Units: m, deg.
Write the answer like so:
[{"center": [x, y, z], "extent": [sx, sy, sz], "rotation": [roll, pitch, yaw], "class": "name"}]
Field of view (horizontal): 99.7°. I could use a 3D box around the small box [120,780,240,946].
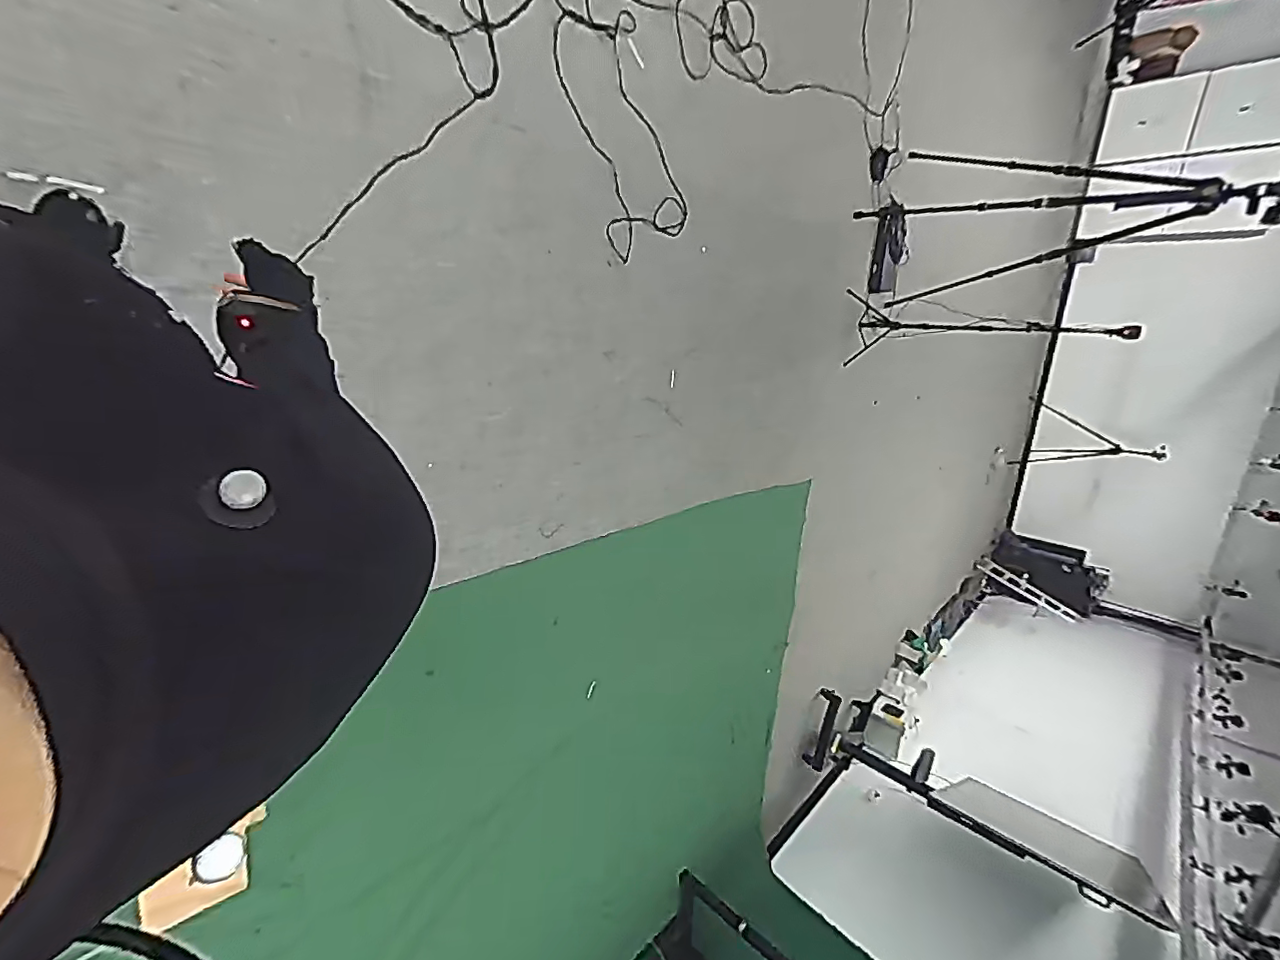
[{"center": [-0.928, 0.759, 1.093], "extent": [0.168, 0.176, 0.179], "rotation": [-7, 107, -46], "class": "small box"}]
